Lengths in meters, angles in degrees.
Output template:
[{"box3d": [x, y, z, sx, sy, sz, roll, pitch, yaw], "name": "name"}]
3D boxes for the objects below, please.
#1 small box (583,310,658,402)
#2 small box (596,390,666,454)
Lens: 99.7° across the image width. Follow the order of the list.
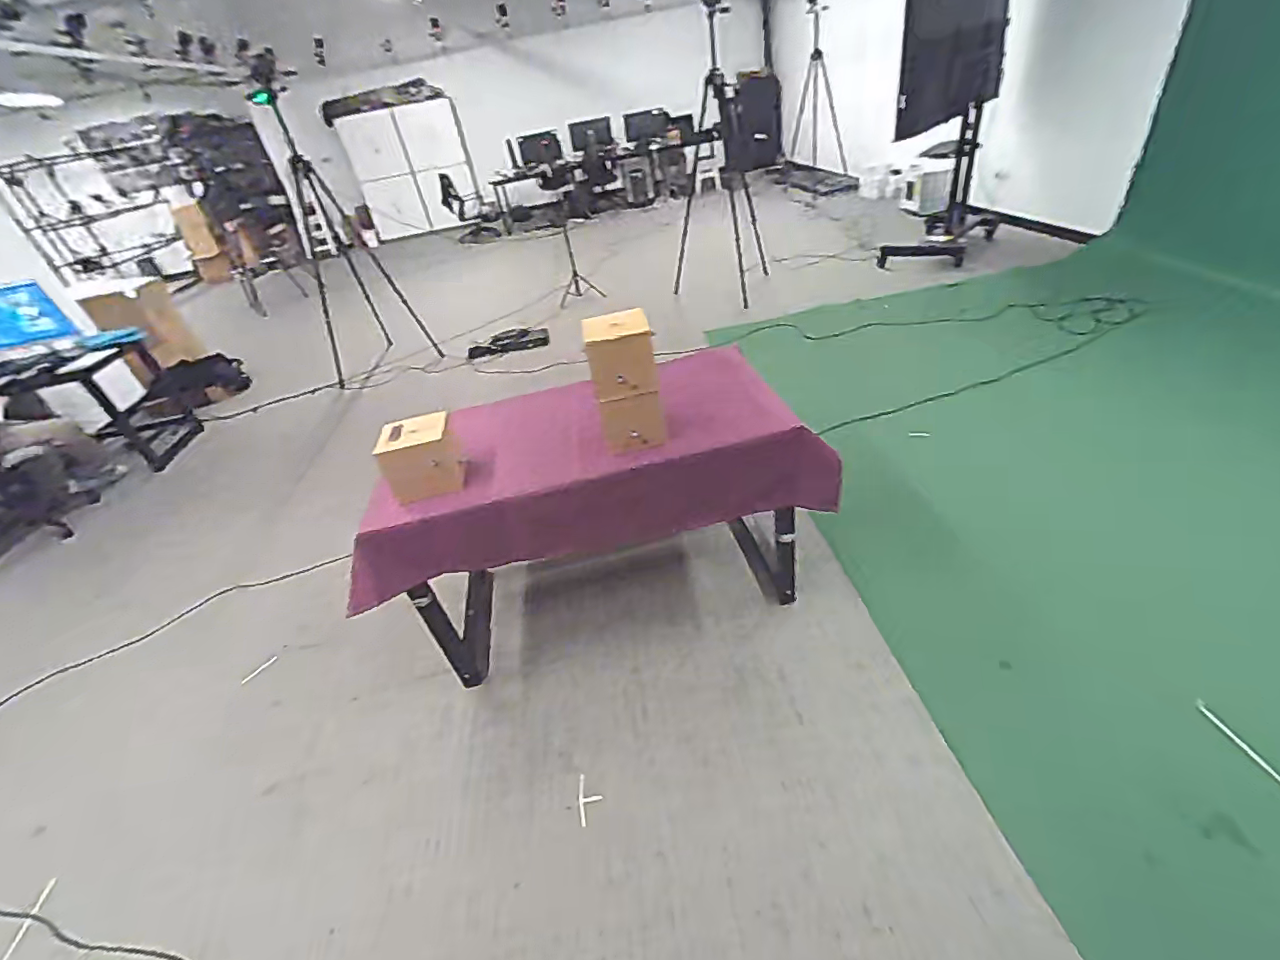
[{"box3d": [-0.052, -0.326, 1.419, 0.168, 0.176, 0.179, -12, 36, -1], "name": "small box"}, {"box3d": [-0.028, -0.195, 1.513, 0.168, 0.176, 0.179, -13, 36, 0], "name": "small box"}]
